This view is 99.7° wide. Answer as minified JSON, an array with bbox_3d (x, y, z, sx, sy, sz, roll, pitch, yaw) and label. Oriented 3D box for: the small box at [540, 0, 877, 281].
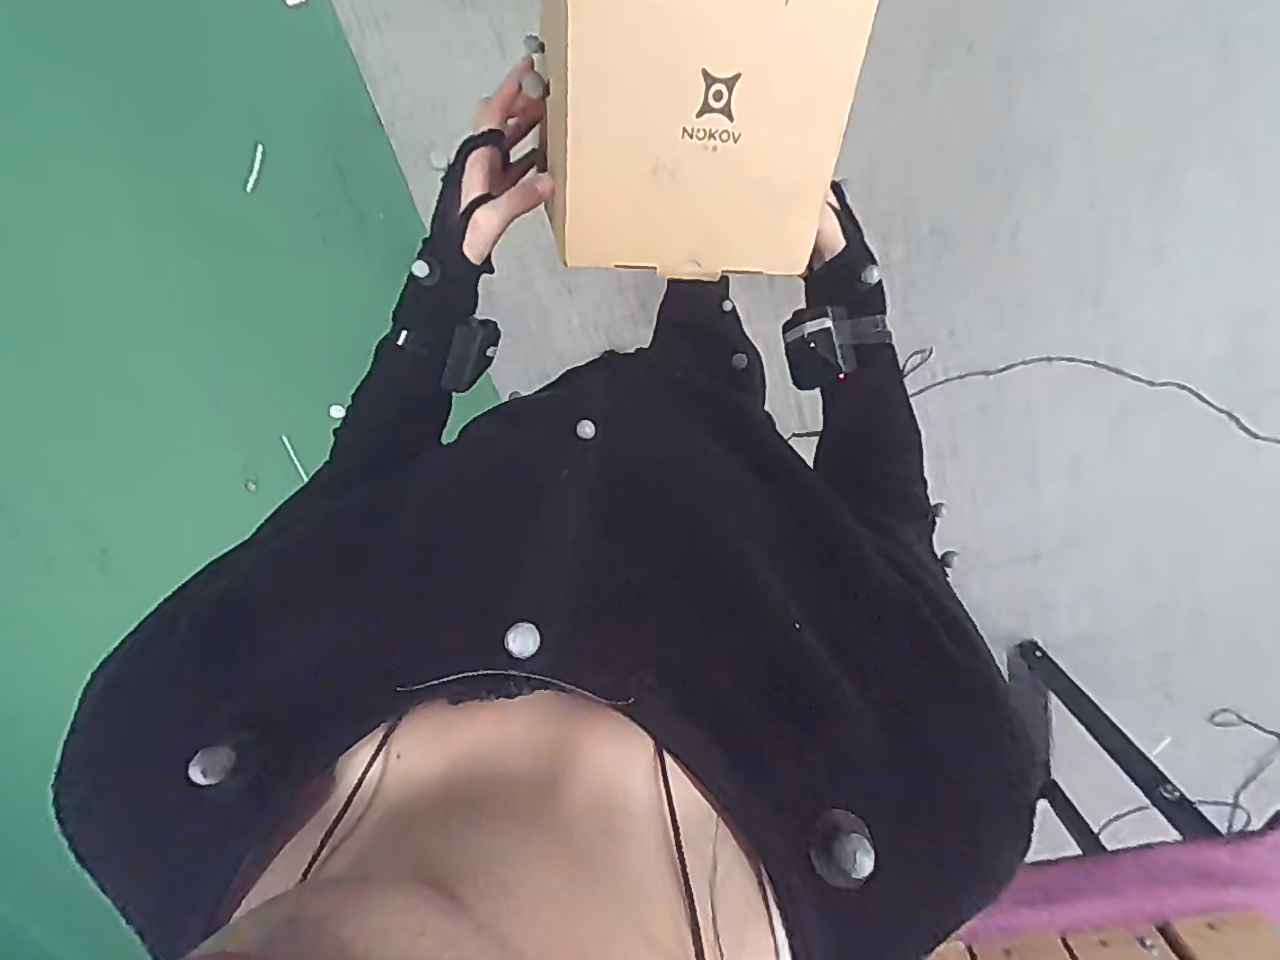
[{"bbox_3d":[0.022,-0.254,0.365,0.168,0.176,0.179,-2,129,-13],"label":"small box"}]
